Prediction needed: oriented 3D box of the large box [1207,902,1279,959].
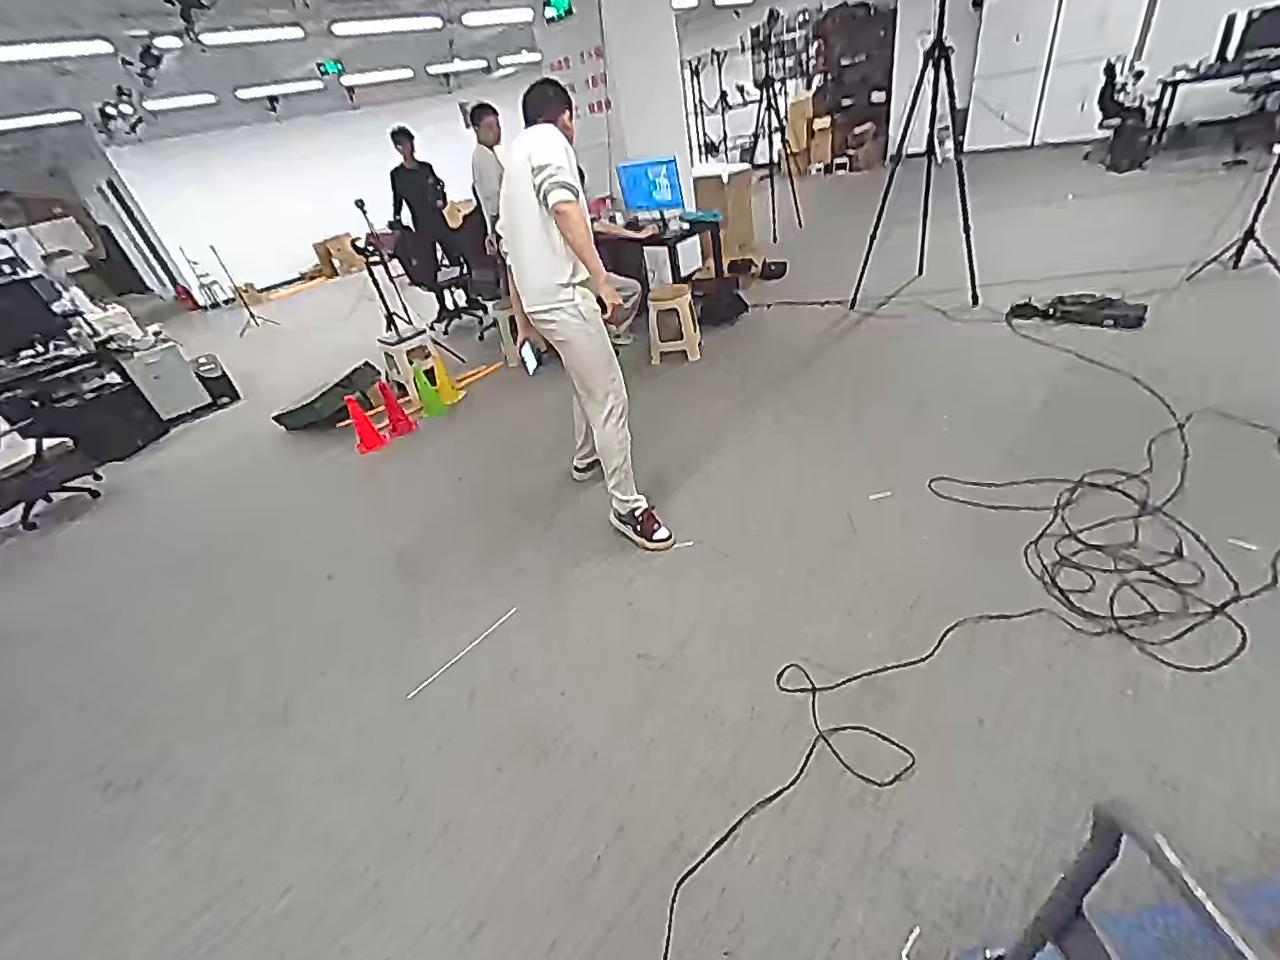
[{"bbox_3d":[1.064,0.772,0.659,0.320,0.320,0.408,-13,33,-1],"label":"large box"}]
